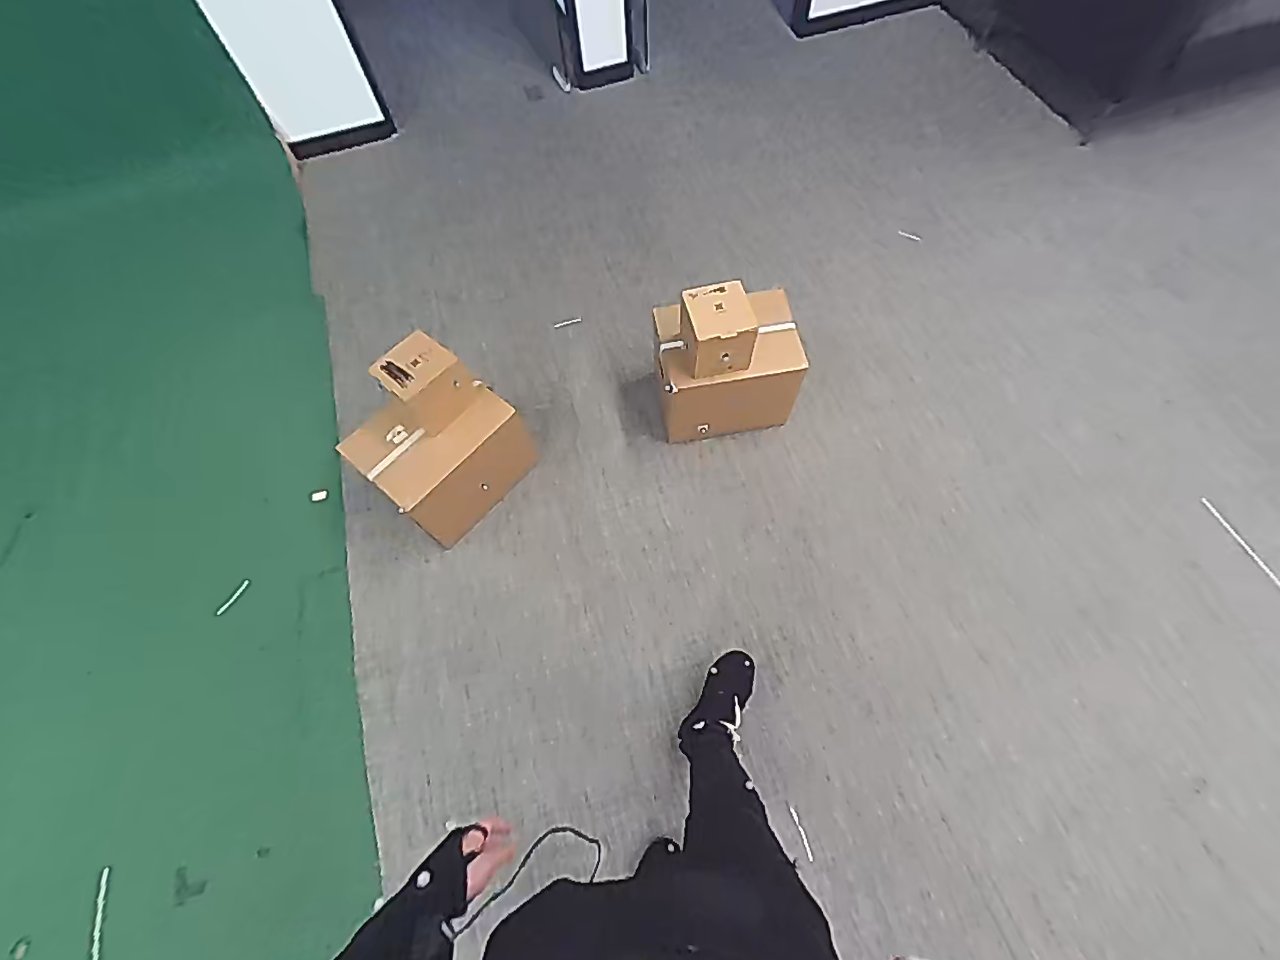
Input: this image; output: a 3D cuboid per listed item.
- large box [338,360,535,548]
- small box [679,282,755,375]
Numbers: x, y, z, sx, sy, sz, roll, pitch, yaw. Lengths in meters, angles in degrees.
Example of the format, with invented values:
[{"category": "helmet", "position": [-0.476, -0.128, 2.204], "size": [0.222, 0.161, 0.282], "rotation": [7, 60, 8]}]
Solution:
[{"category": "large box", "position": [-0.585, -0.072, 1.630], "size": [0.320, 0.320, 0.408], "rotation": [36, 71, 18]}, {"category": "small box", "position": [0.205, -0.409, 1.490], "size": [0.168, 0.176, 0.179], "rotation": [-12, 66, -4]}]
